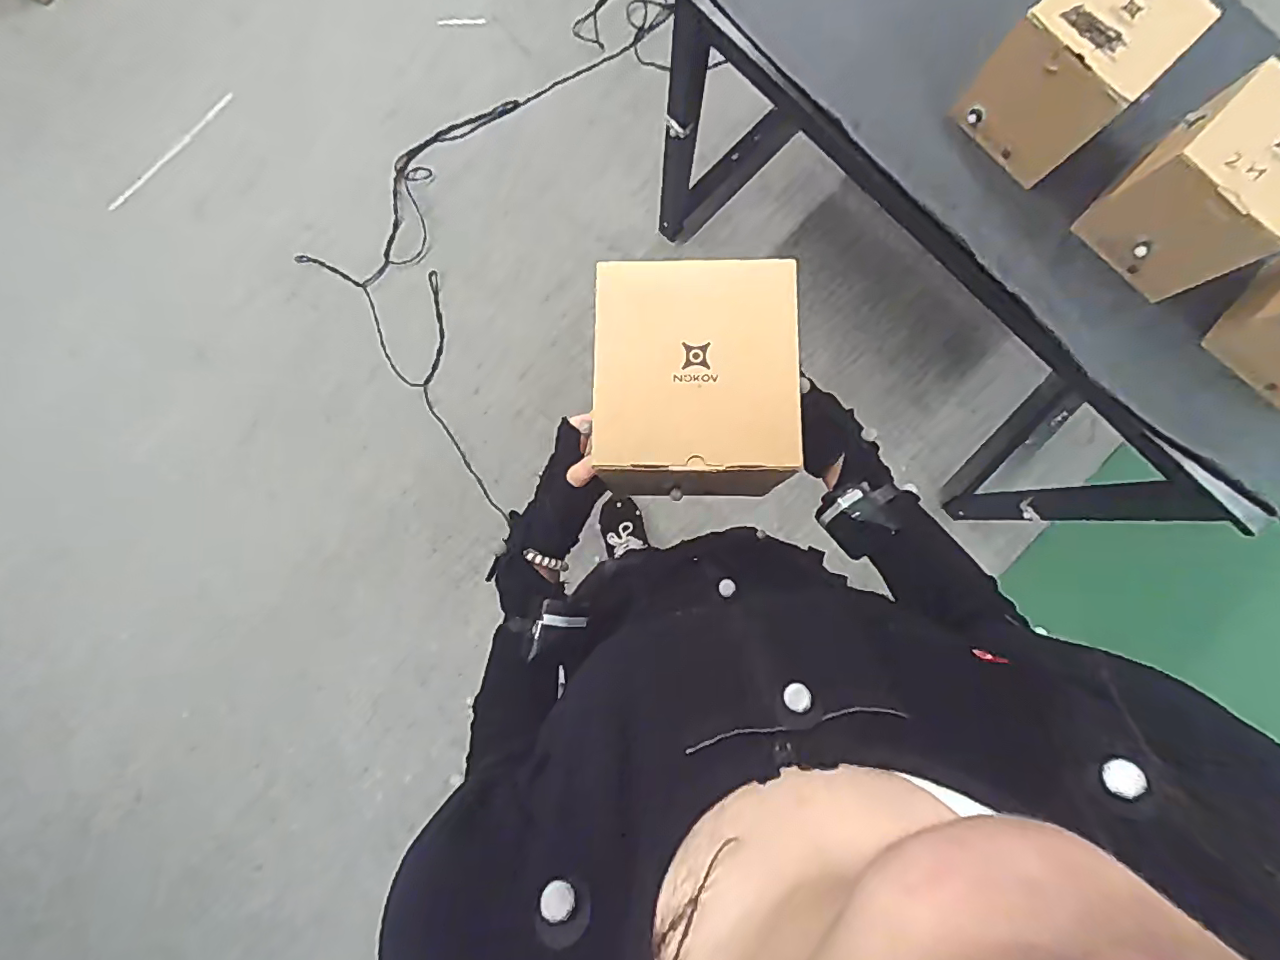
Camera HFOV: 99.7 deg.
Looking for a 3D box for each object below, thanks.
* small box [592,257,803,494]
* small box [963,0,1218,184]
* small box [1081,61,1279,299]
[{"bbox_3d":[0.047,-0.084,0.507,0.168,0.176,0.179,0,82,2],"label":"small box"},{"bbox_3d":[0.581,-0.550,0.730,0.179,0.176,0.168,-44,88,-4],"label":"small box"},{"bbox_3d":[0.754,-0.381,0.718,0.168,0.176,0.179,44,86,3],"label":"small box"}]
